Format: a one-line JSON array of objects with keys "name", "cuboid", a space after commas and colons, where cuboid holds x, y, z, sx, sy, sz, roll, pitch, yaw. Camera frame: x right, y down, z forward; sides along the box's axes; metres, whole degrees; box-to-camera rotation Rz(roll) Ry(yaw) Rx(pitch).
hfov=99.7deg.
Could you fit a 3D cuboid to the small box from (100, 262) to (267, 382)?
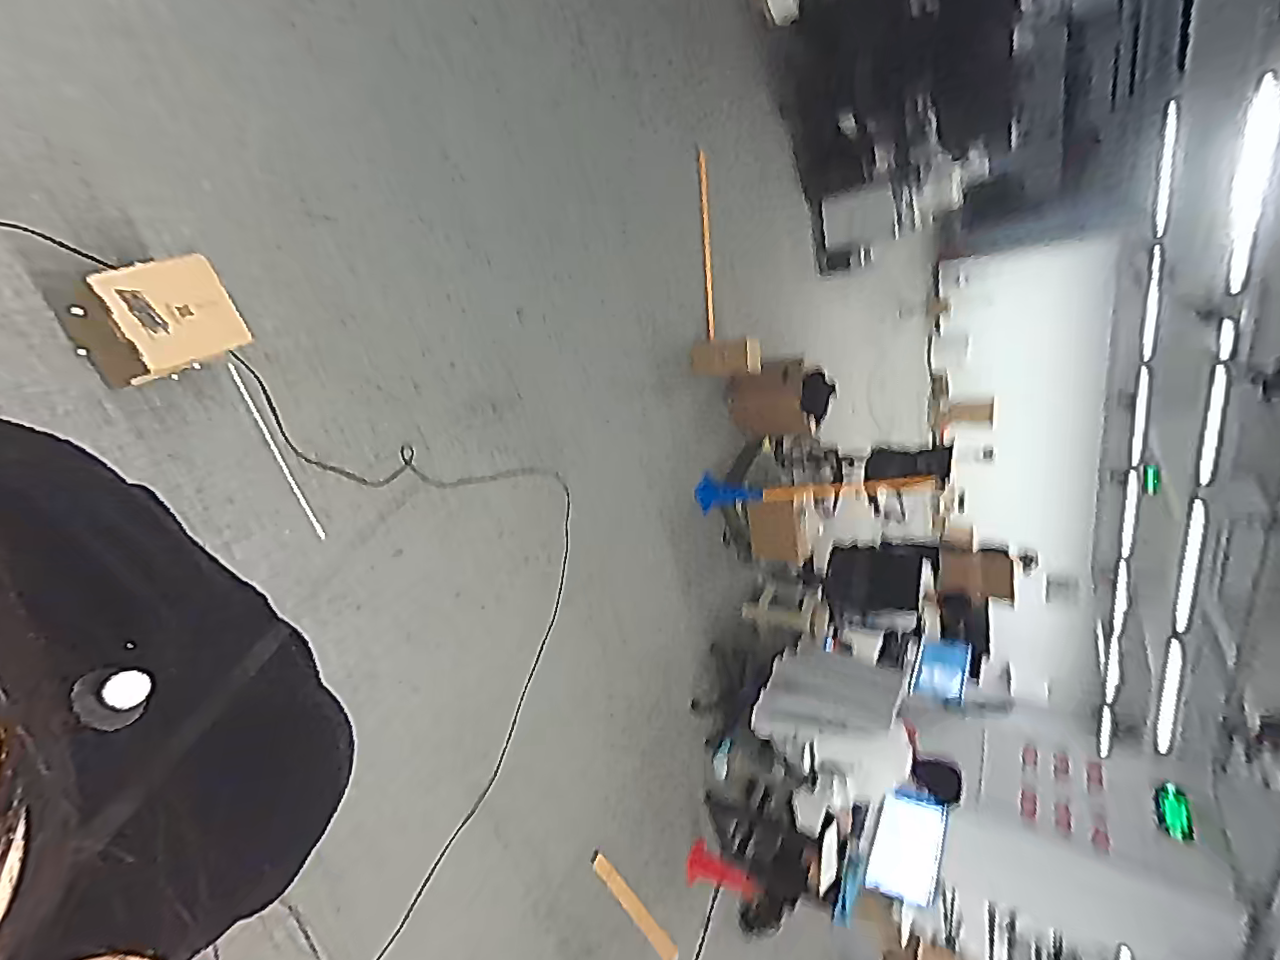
[{"name": "small box", "cuboid": [-0.864, -0.294, 1.021, 0.179, 0.176, 0.168, -43, 124, -44]}]
